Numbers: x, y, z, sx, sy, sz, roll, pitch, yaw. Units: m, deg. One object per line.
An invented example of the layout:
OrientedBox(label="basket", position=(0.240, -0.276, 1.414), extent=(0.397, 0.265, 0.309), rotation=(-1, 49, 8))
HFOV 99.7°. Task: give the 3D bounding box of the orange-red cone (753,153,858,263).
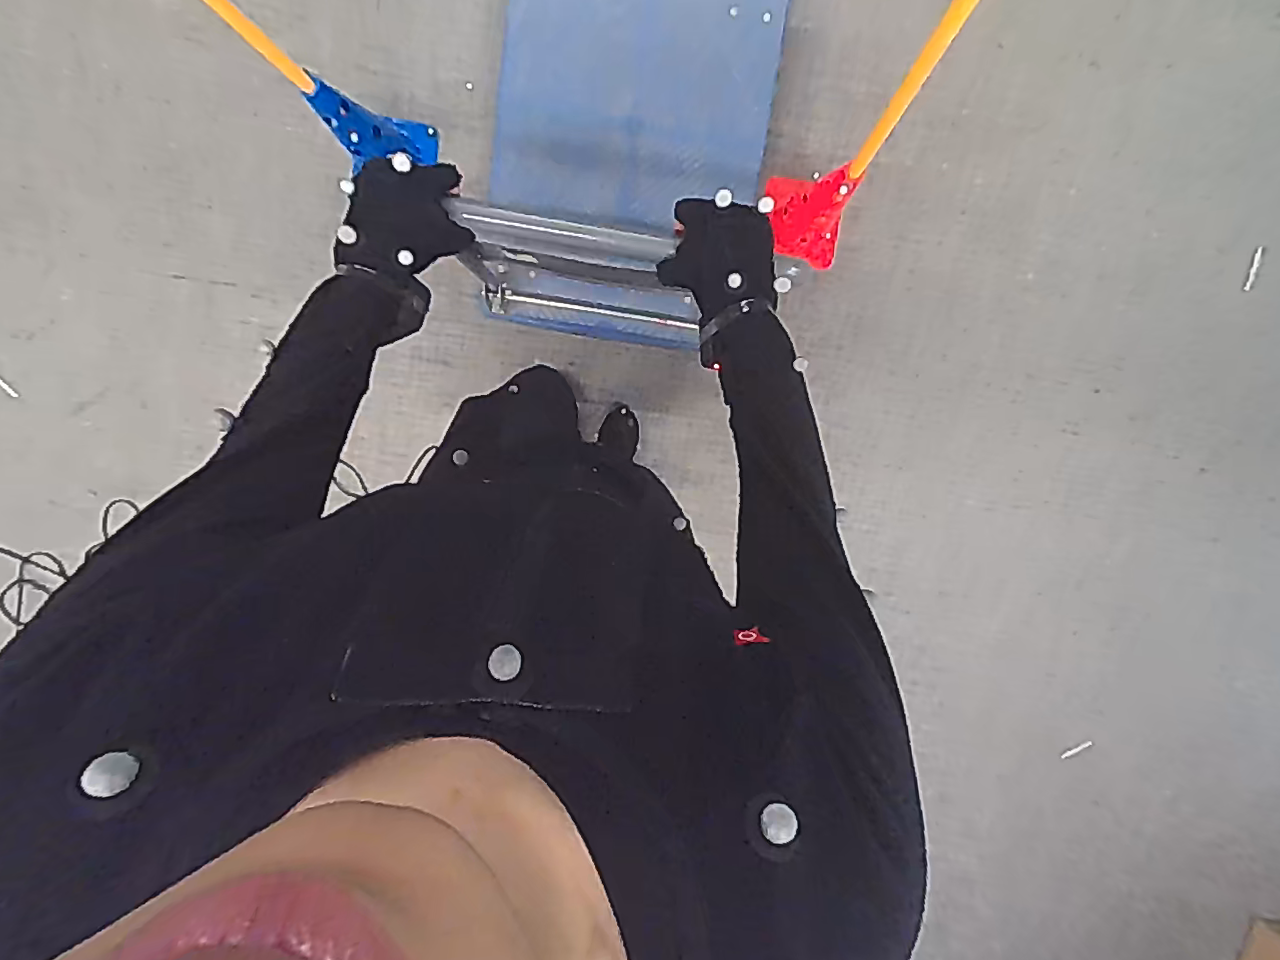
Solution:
OrientedBox(label="orange-red cone", position=(0.394, -0.629, 1.195), extent=(0.199, 0.360, 0.198), rotation=(9, 100, -1))
